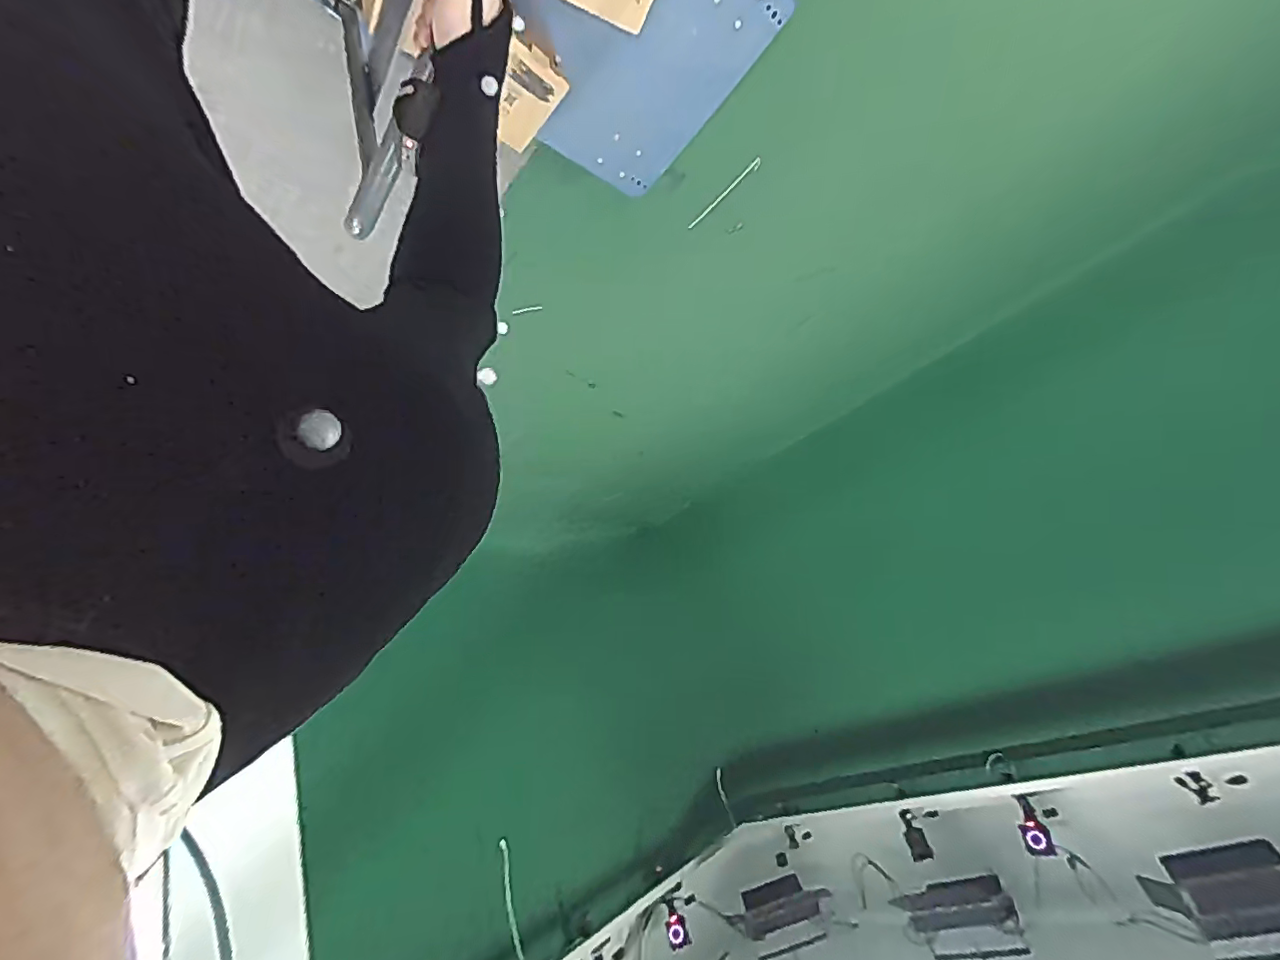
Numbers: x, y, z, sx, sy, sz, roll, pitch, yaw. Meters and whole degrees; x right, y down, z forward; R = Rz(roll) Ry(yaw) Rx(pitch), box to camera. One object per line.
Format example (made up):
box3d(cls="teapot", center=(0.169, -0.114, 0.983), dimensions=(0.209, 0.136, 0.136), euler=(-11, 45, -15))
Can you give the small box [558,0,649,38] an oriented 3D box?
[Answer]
box3d(cls="small box", center=(-0.072, -0.952, 0.959), dimensions=(0.179, 0.176, 0.168), euler=(-3, 154, -35))
